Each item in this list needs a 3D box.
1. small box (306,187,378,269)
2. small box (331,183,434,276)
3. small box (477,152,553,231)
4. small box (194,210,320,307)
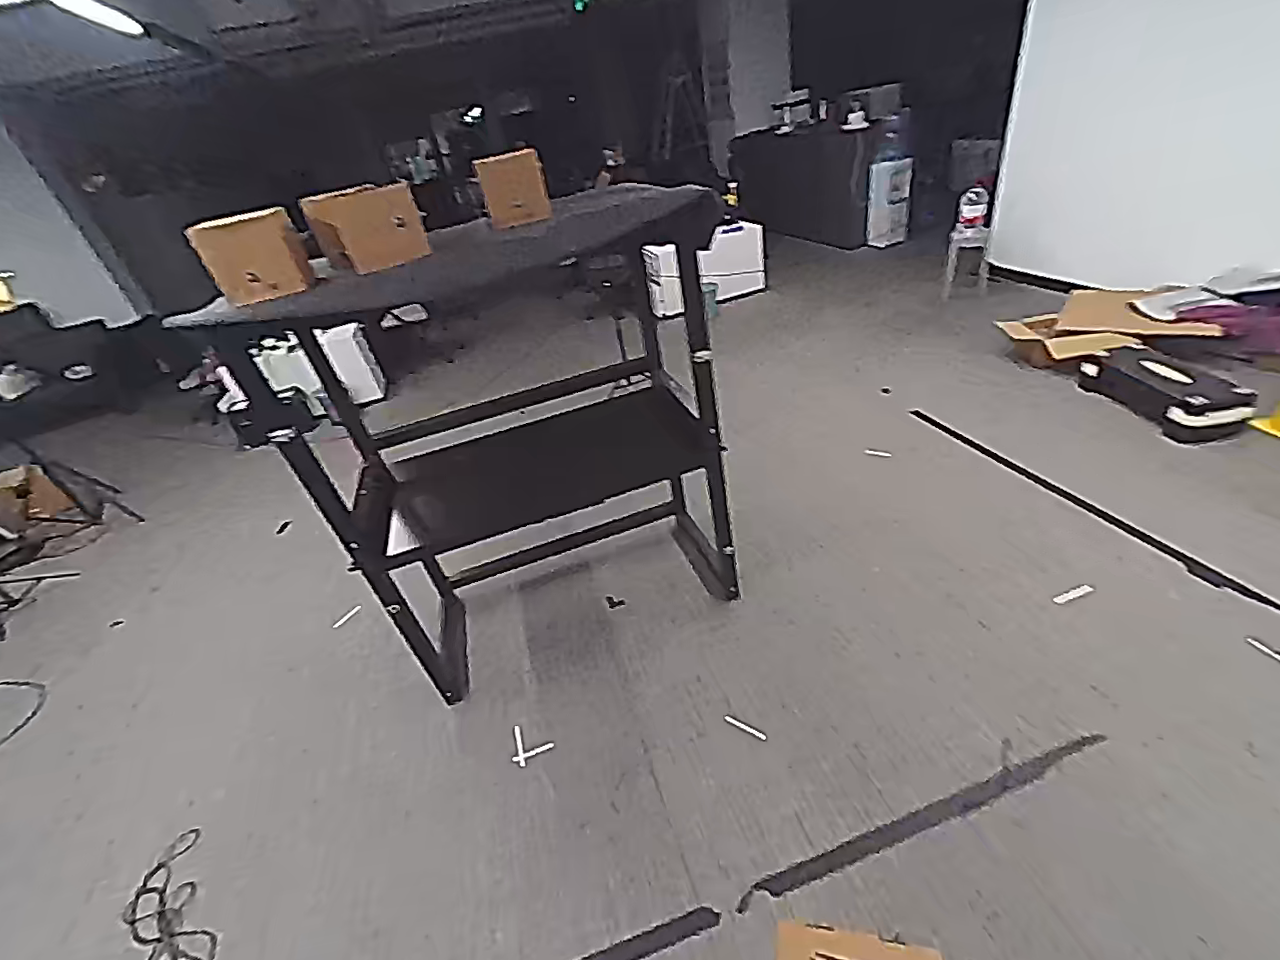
[{"bbox_3d":[-0.774,-0.690,1.484,0.168,0.176,0.179,-18,33,-8],"label":"small box"},{"bbox_3d":[-0.613,-0.611,1.314,0.179,0.176,0.168,-19,32,-11],"label":"small box"},{"bbox_3d":[-0.352,-0.818,1.533,0.168,0.176,0.179,-17,34,-6],"label":"small box"},{"bbox_3d":[-0.875,-0.515,1.258,0.168,0.176,0.179,-20,35,-12],"label":"small box"}]
